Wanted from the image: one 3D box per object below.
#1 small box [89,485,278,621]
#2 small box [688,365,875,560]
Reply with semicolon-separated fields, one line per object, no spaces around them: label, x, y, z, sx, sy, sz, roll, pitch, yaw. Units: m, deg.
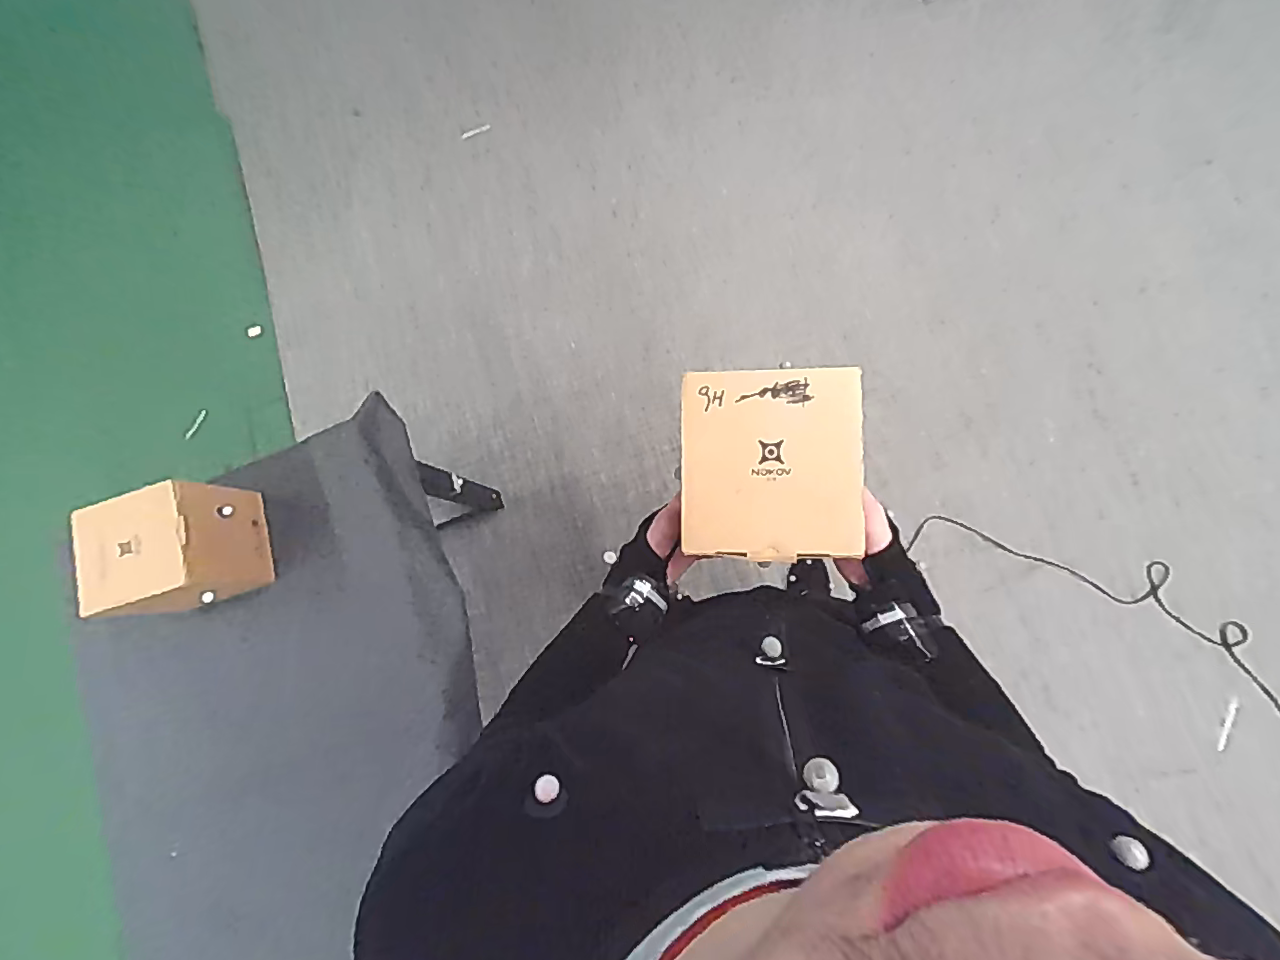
small box;-0.728;0.122;0.882;0.179;0.176;0.168;-19;76;5
small box;0.139;-0.011;0.567;0.168;0.176;0.179;0;85;9
